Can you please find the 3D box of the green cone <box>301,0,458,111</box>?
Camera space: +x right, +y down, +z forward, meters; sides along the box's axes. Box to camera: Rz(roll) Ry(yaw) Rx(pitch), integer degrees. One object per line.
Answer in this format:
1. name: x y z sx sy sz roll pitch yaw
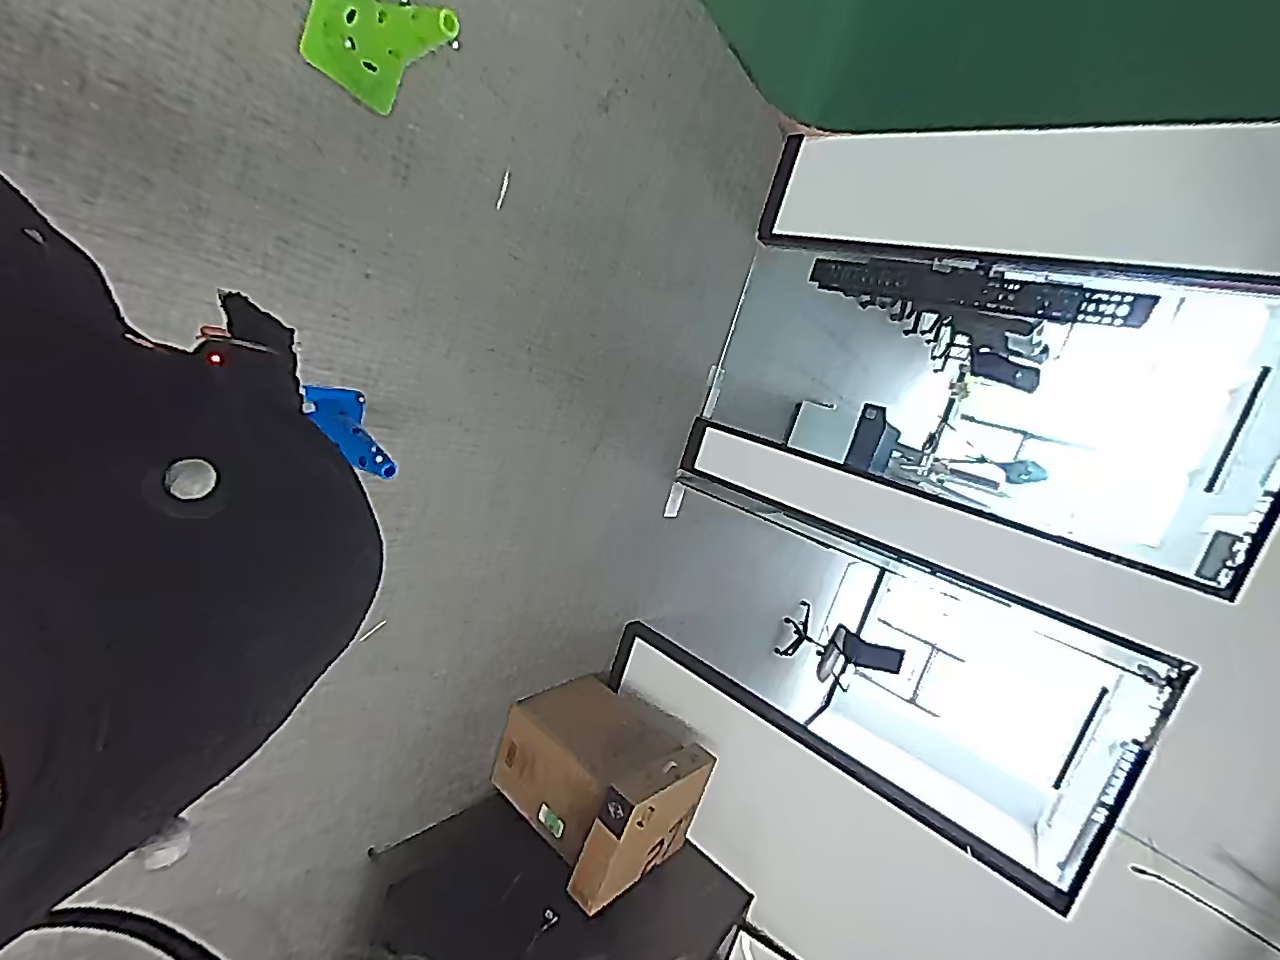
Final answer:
1. green cone: -0.489 -0.906 1.090 0.200 0.368 0.202 11 101 -55
